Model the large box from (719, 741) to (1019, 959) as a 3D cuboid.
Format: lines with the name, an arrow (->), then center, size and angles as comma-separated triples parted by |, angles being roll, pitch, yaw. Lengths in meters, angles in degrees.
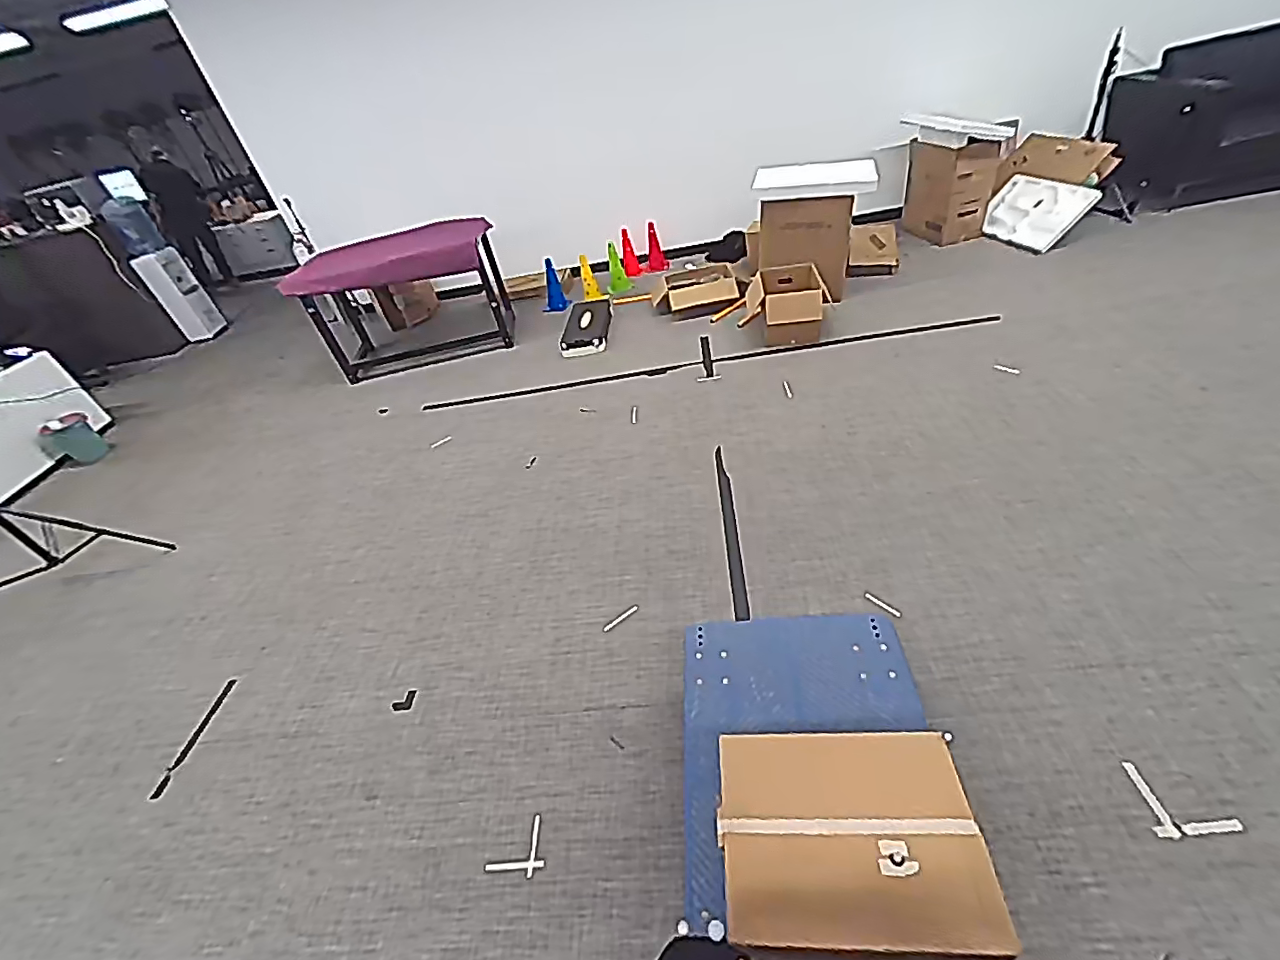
large box -> 0.359, 0.699, 0.976 | 0.408, 0.320, 0.320 | -4, 40, 8
